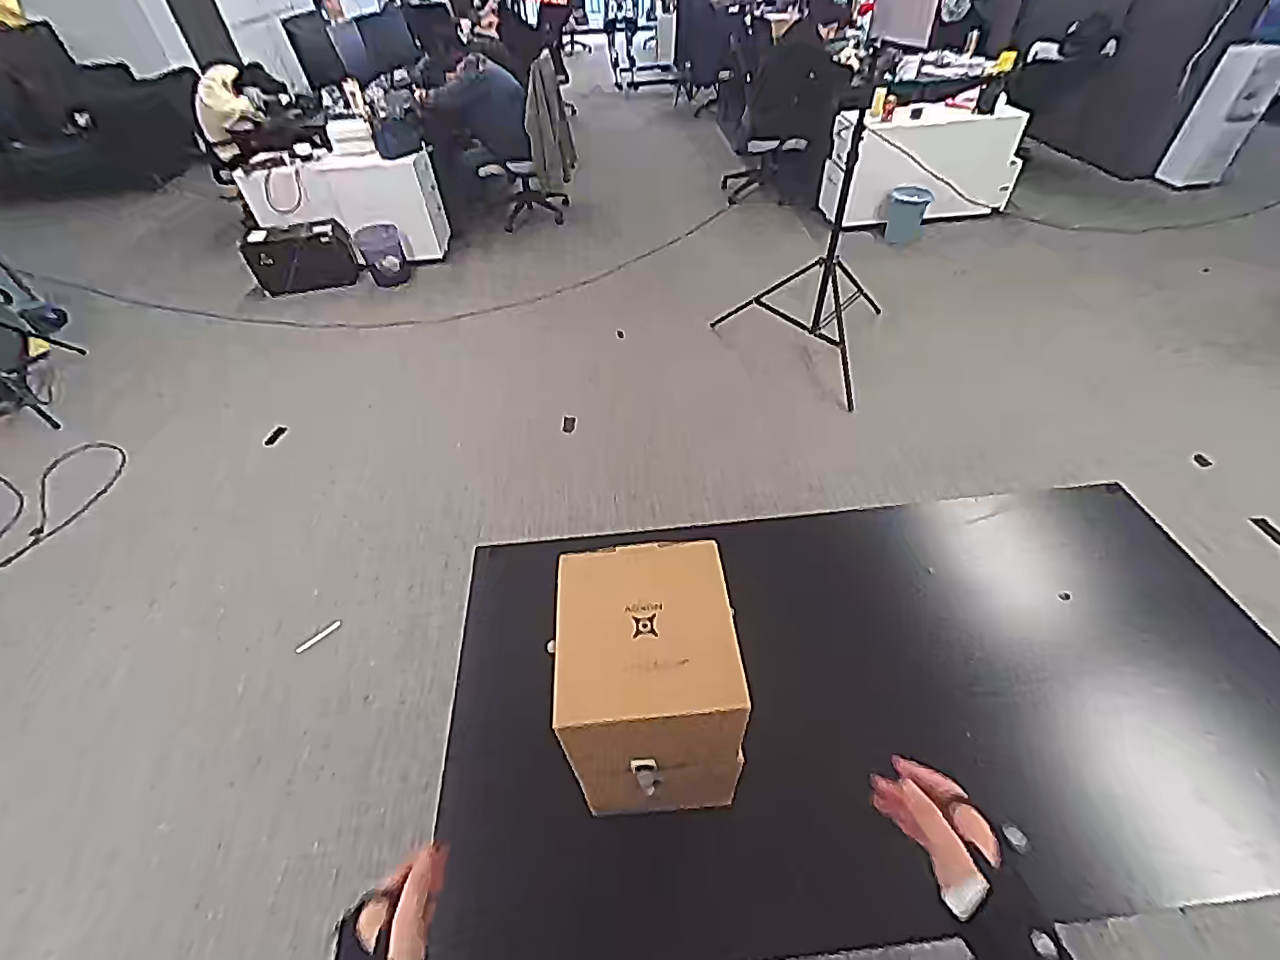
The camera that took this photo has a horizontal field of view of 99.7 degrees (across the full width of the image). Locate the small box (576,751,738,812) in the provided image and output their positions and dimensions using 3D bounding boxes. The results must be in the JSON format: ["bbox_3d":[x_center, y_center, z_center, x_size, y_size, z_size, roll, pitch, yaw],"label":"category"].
[{"bbox_3d":[0.019,0.301,0.681,0.179,0.176,0.168,-4,46,-1],"label":"small box"}]

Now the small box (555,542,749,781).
[{"bbox_3d":[0.009,0.189,0.564,0.168,0.176,0.179,-6,47,-1],"label":"small box"}]
